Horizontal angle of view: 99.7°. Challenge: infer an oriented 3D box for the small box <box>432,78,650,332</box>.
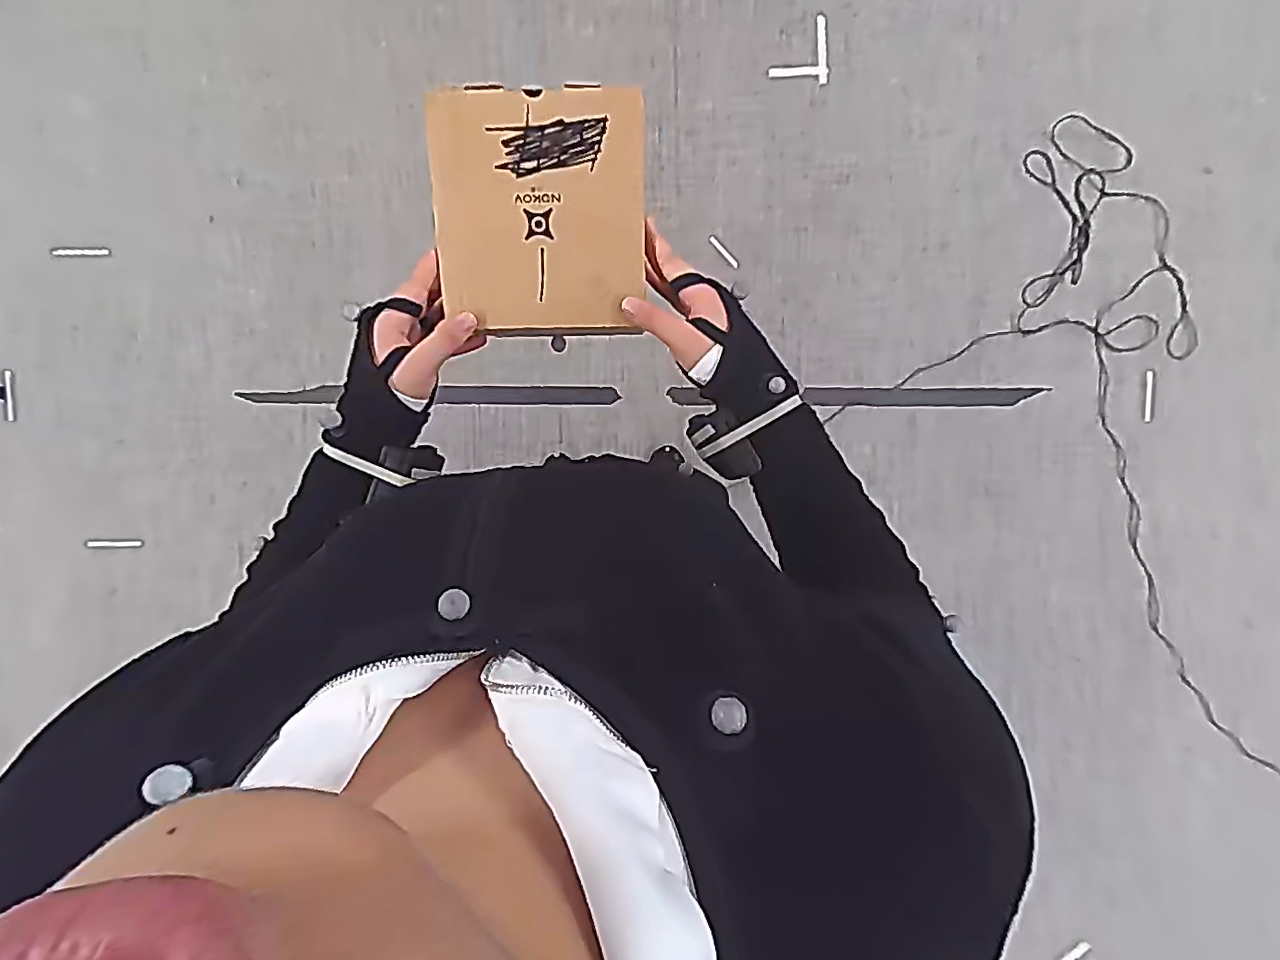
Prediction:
[{"bbox_3d":[-0.076,-0.232,0.501,0.168,0.176,0.179,-1,103,0],"label":"small box"}]
